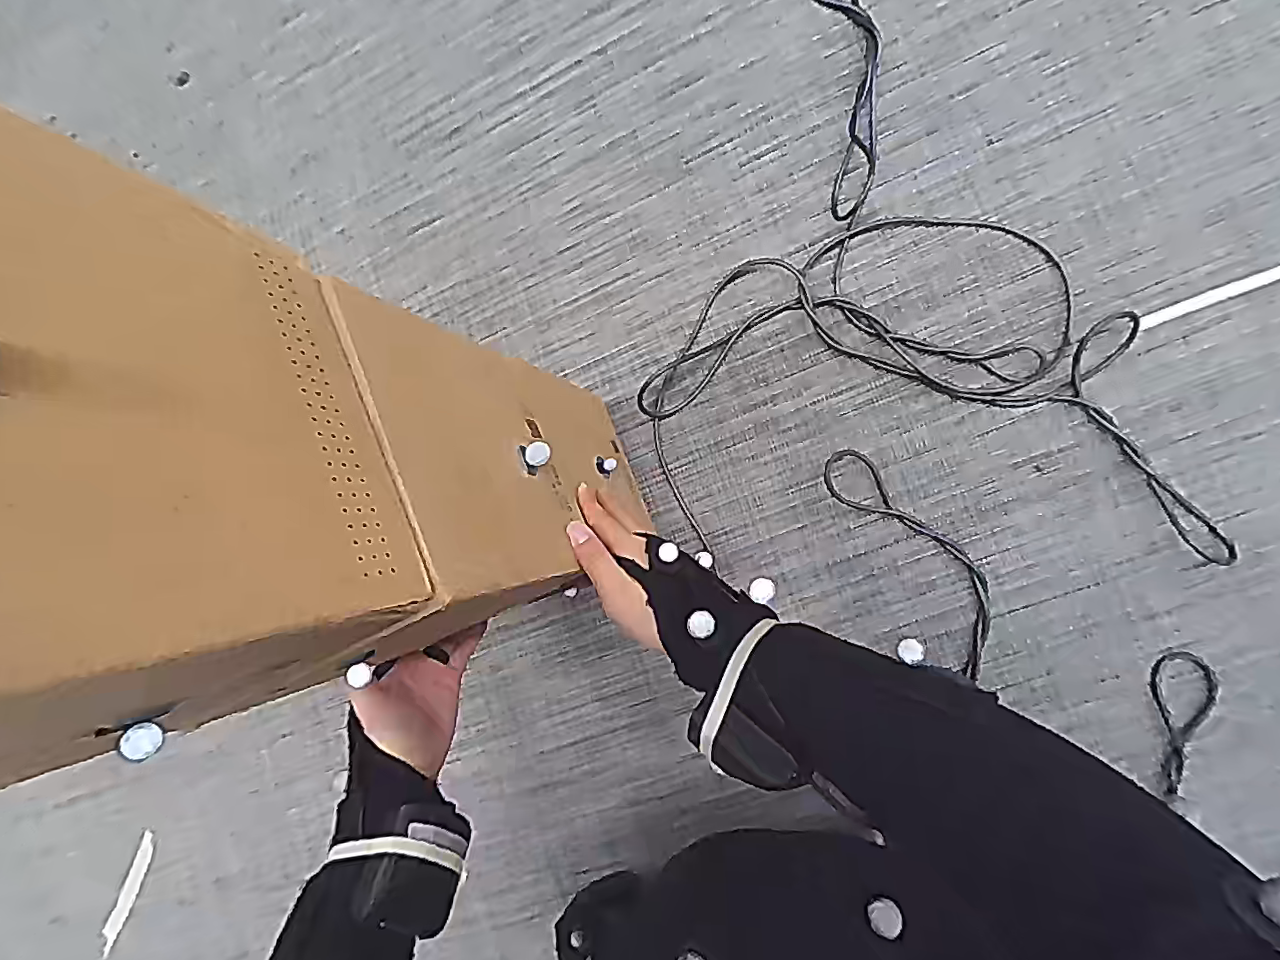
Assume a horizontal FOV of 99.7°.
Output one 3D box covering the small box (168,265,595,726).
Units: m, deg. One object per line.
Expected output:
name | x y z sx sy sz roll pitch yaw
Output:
small box | -0.155 0.016 0.327 0.179 0.176 0.168 -26 80 15

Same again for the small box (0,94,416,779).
small box | -0.211 -0.001 0.175 0.168 0.176 0.179 -28 80 15

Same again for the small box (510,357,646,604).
small box | -0.109 0.018 0.484 0.179 0.176 0.168 -25 79 16
